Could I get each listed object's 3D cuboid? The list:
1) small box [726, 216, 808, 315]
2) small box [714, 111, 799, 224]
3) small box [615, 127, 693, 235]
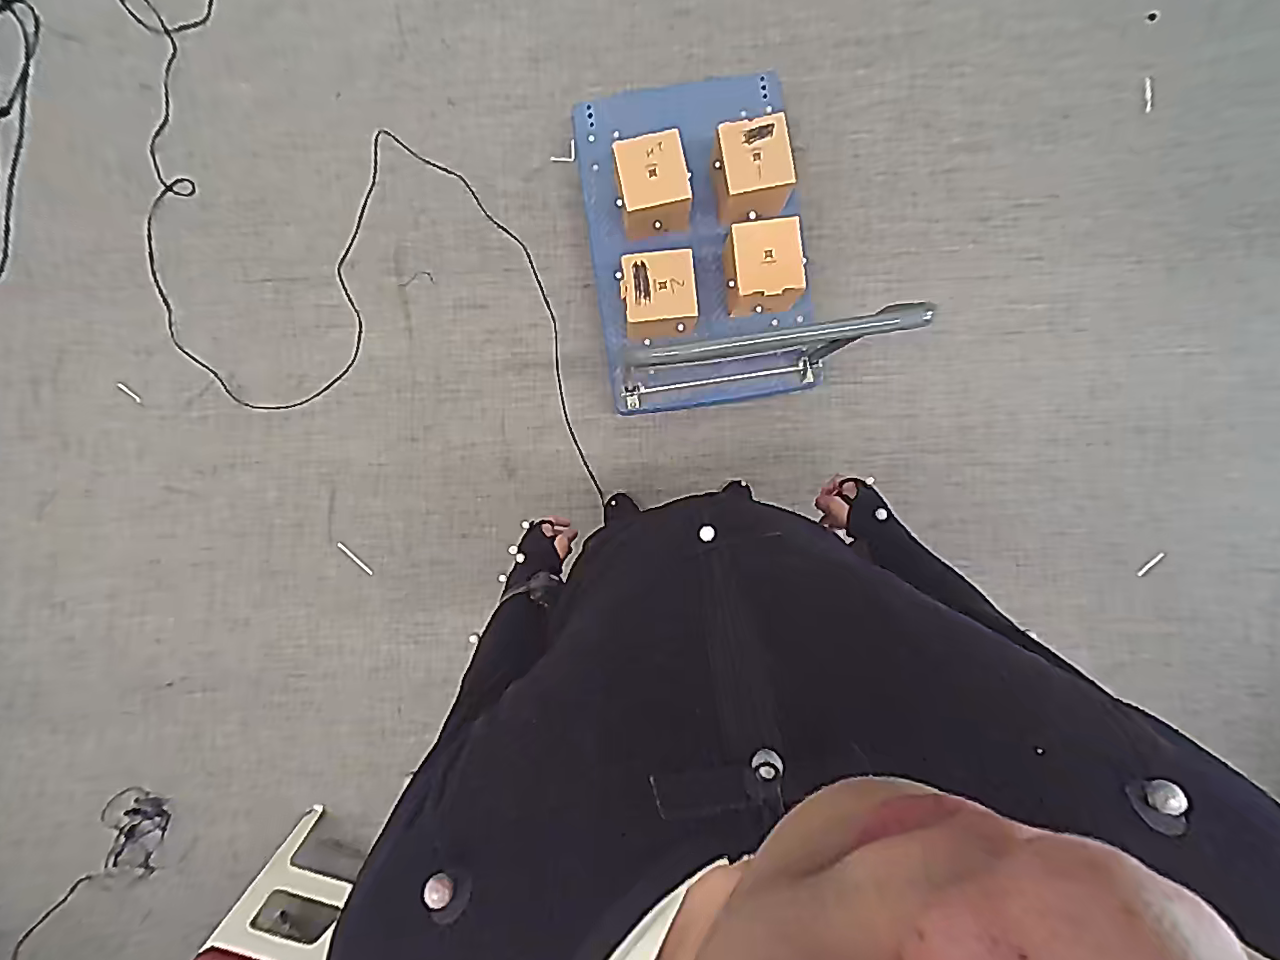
[{"bbox_3d":[0.317,-0.540,1.380,0.168,0.176,0.179,-6,89,1],"label":"small box"},{"bbox_3d":[0.289,-0.788,1.377,0.168,0.176,0.179,-10,91,2],"label":"small box"},{"bbox_3d":[0.036,-0.751,1.382,0.168,0.176,0.179,-12,90,0],"label":"small box"}]
